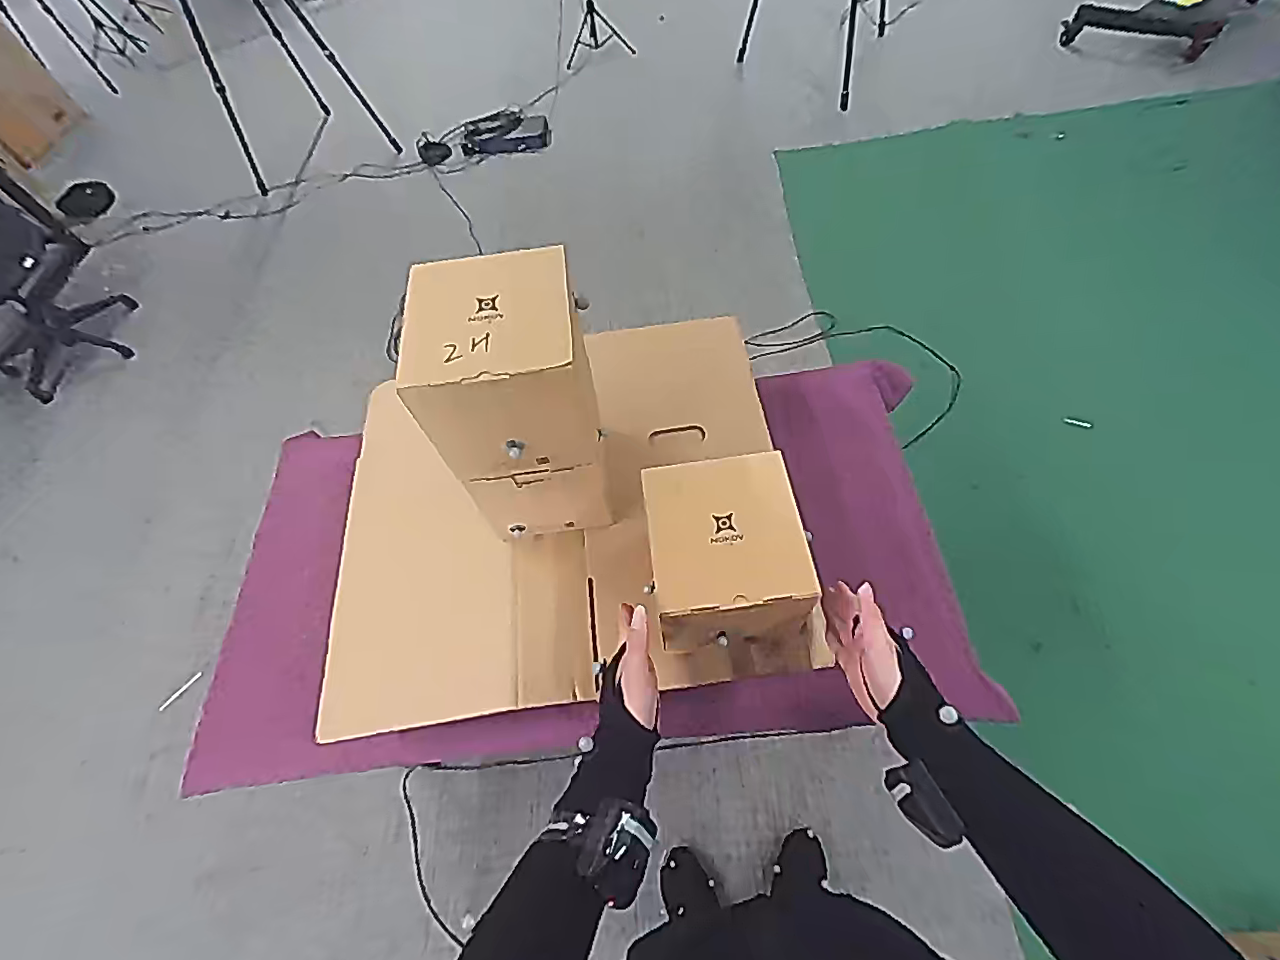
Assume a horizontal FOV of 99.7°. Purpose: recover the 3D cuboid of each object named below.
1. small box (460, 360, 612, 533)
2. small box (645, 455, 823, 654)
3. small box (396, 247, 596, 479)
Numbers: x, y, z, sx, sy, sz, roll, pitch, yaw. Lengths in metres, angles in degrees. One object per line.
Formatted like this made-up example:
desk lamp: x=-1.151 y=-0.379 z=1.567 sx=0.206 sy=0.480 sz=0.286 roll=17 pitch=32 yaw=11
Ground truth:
small box: x=-0.132 y=-0.038 z=0.737 sx=0.168 sy=0.176 sz=0.179 roll=-7 pitch=59 yaw=-1
small box: x=0.097 y=0.094 z=0.645 sx=0.168 sy=0.176 sz=0.179 roll=-8 pitch=60 yaw=0
small box: x=-0.143 y=-0.123 z=0.597 sx=0.168 sy=0.176 sz=0.179 roll=-8 pitch=60 yaw=0
